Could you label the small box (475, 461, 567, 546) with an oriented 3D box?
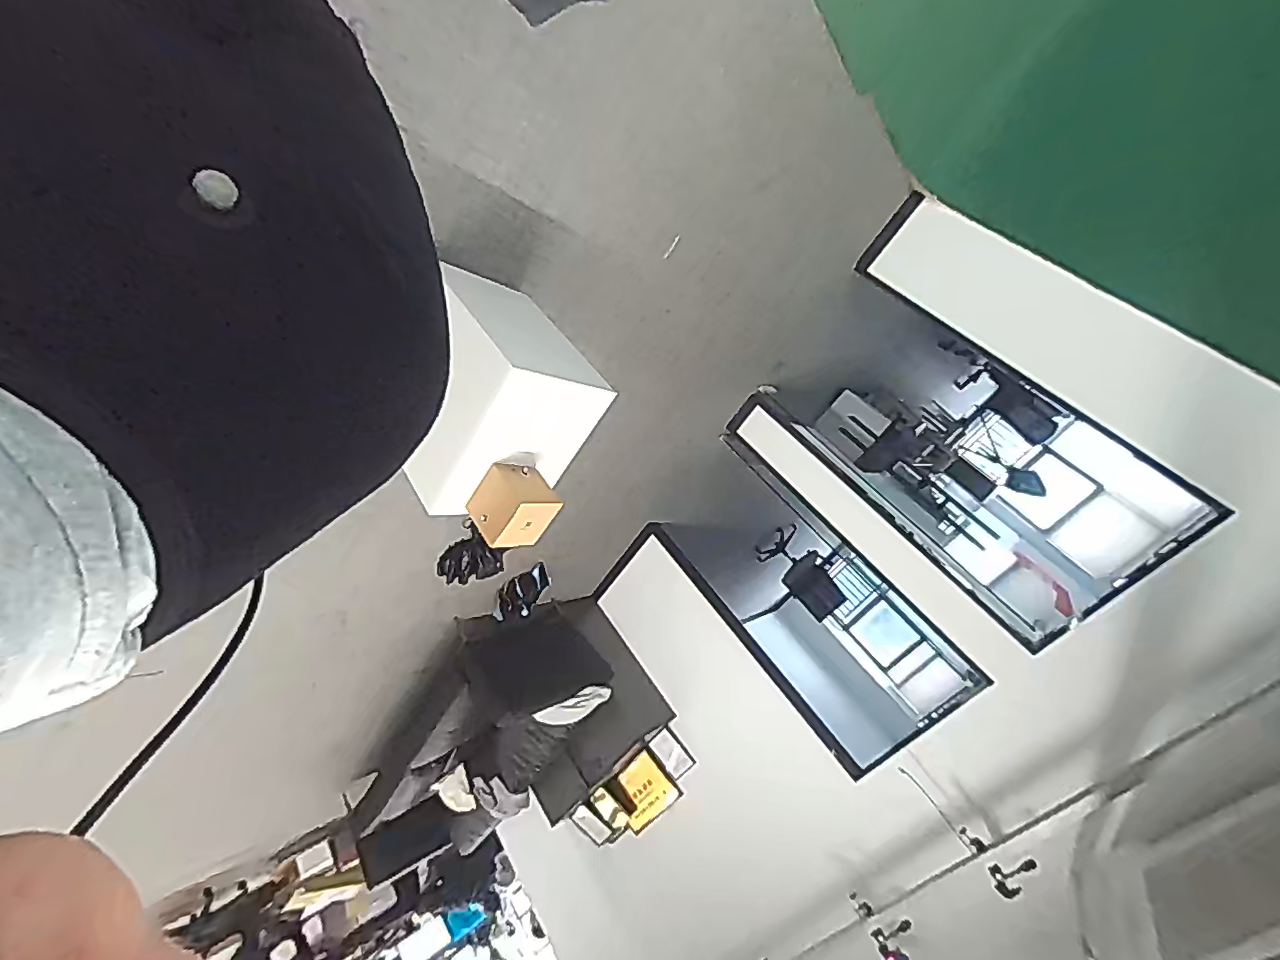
[{"bbox_3d":[-0.349,0.068,1.557,0.168,0.176,0.179,2,130,-55],"label":"small box"}]
